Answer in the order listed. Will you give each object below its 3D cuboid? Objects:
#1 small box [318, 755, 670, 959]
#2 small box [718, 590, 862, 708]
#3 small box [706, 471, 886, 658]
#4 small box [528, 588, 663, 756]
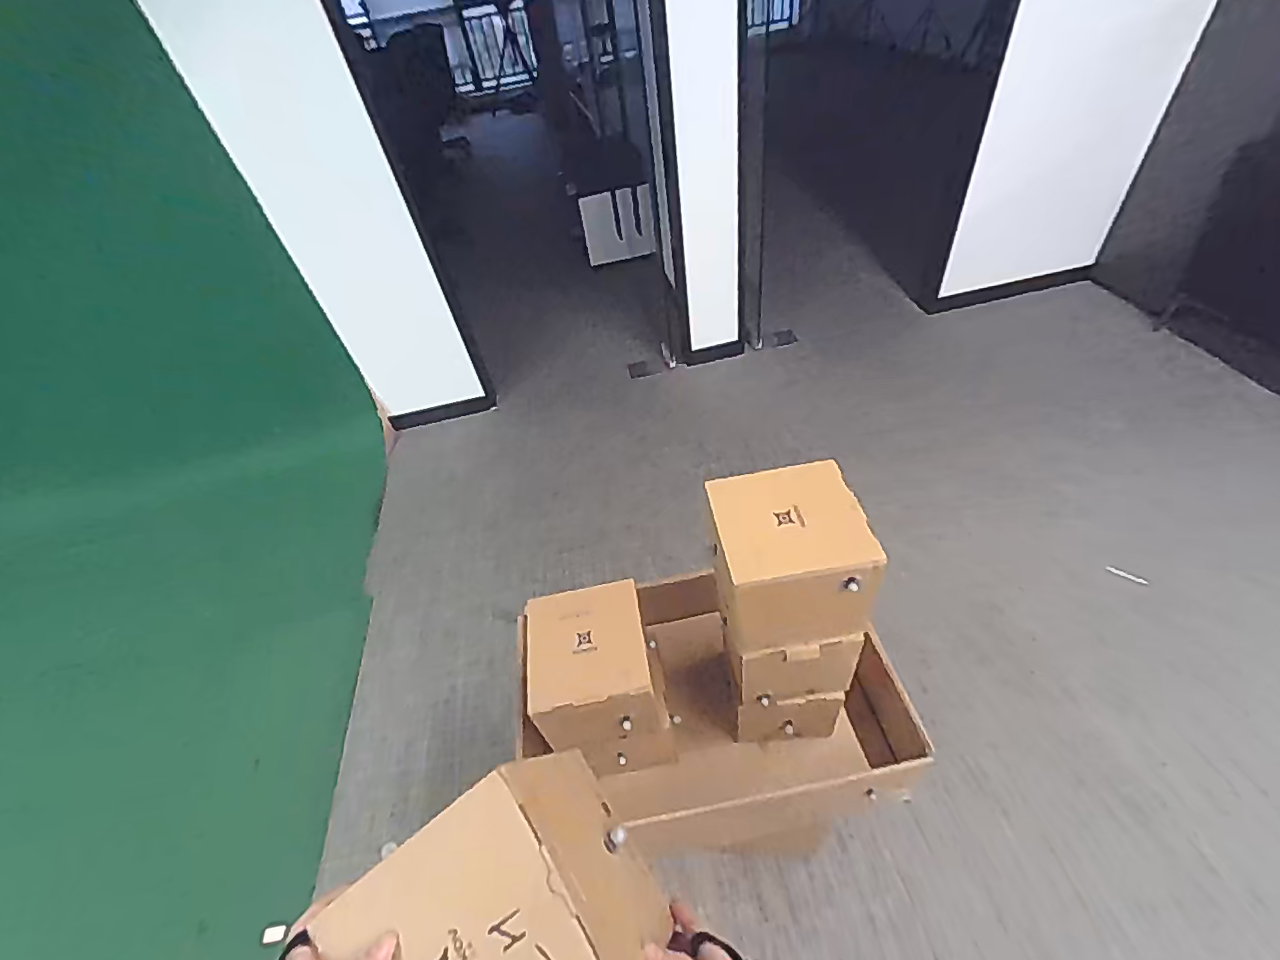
[{"bbox_3d":[-0.099,0.345,0.424,0.179,0.176,0.168,-37,64,-3],"label":"small box"},{"bbox_3d":[0.216,0.228,0.823,0.168,0.176,0.179,-9,44,1],"label":"small box"},{"bbox_3d":[0.191,0.114,0.709,0.179,0.176,0.168,-9,45,0],"label":"small box"},{"bbox_3d":[-0.064,0.292,0.809,0.168,0.176,0.179,-10,44,-1],"label":"small box"}]
